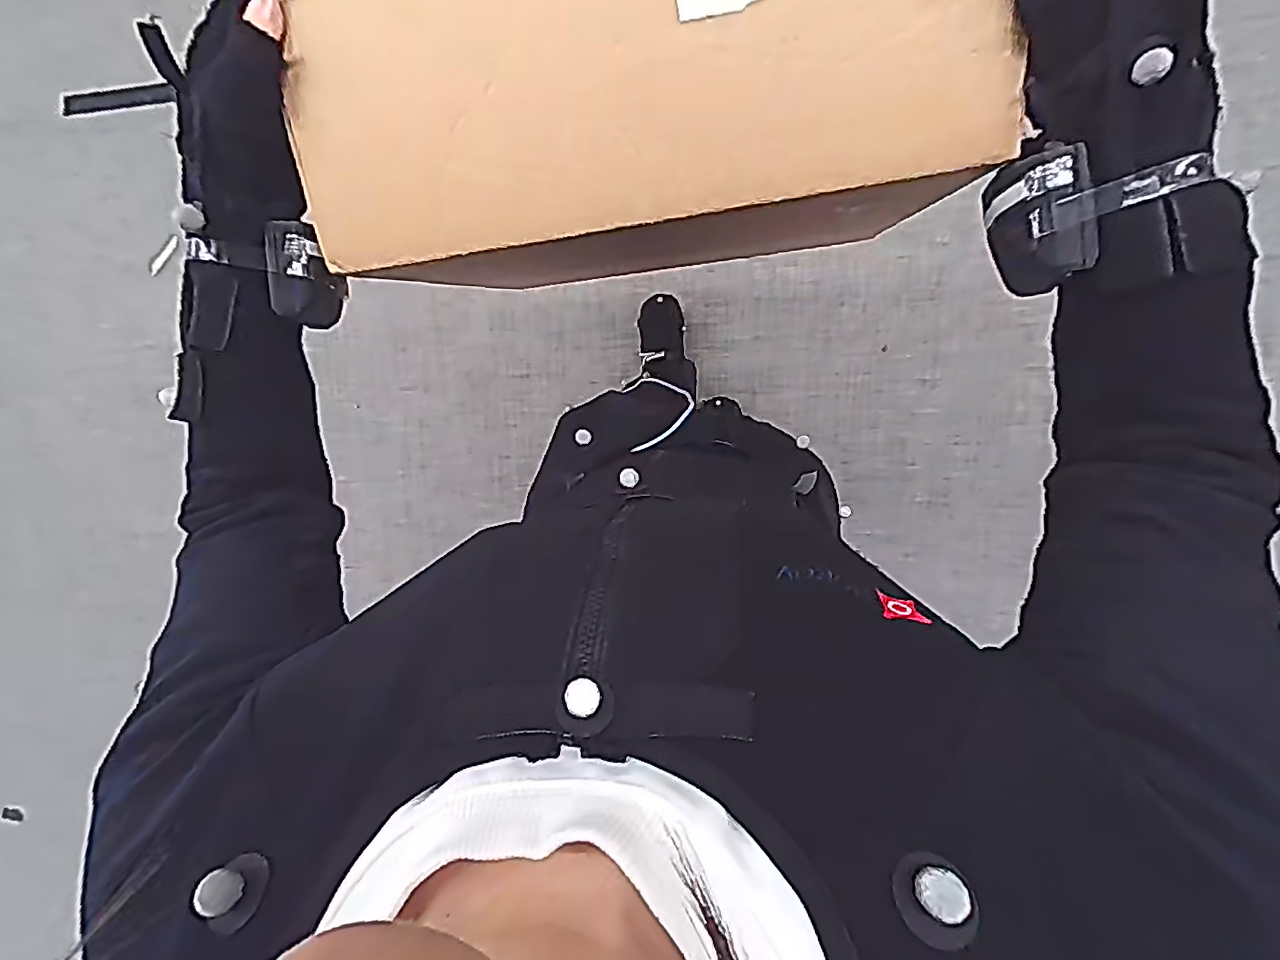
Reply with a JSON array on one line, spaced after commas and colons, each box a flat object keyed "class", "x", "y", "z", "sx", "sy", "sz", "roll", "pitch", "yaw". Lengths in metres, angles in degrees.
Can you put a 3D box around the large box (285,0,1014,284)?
[{"class": "large box", "x": 0.003, "y": -0.352, "z": 0.424, "sx": 0.408, "sy": 0.320, "sz": 0.320, "roll": -5, "pitch": 107, "yaw": 11}]
